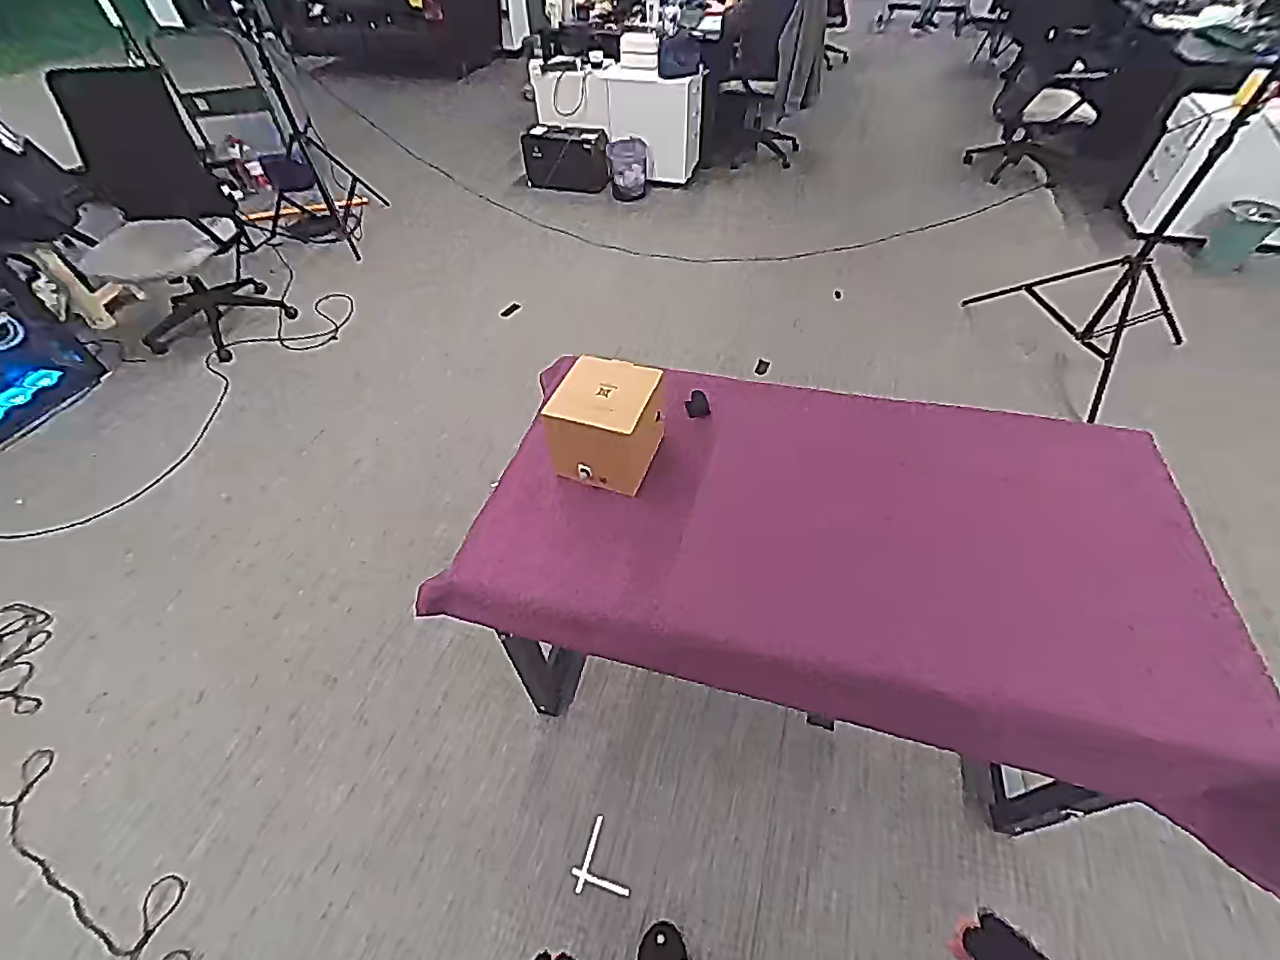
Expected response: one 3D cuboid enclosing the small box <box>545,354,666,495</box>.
[{"bbox_3d":[-0.056,-0.103,1.001,0.168,0.176,0.179,14,52,14],"label":"small box"}]
